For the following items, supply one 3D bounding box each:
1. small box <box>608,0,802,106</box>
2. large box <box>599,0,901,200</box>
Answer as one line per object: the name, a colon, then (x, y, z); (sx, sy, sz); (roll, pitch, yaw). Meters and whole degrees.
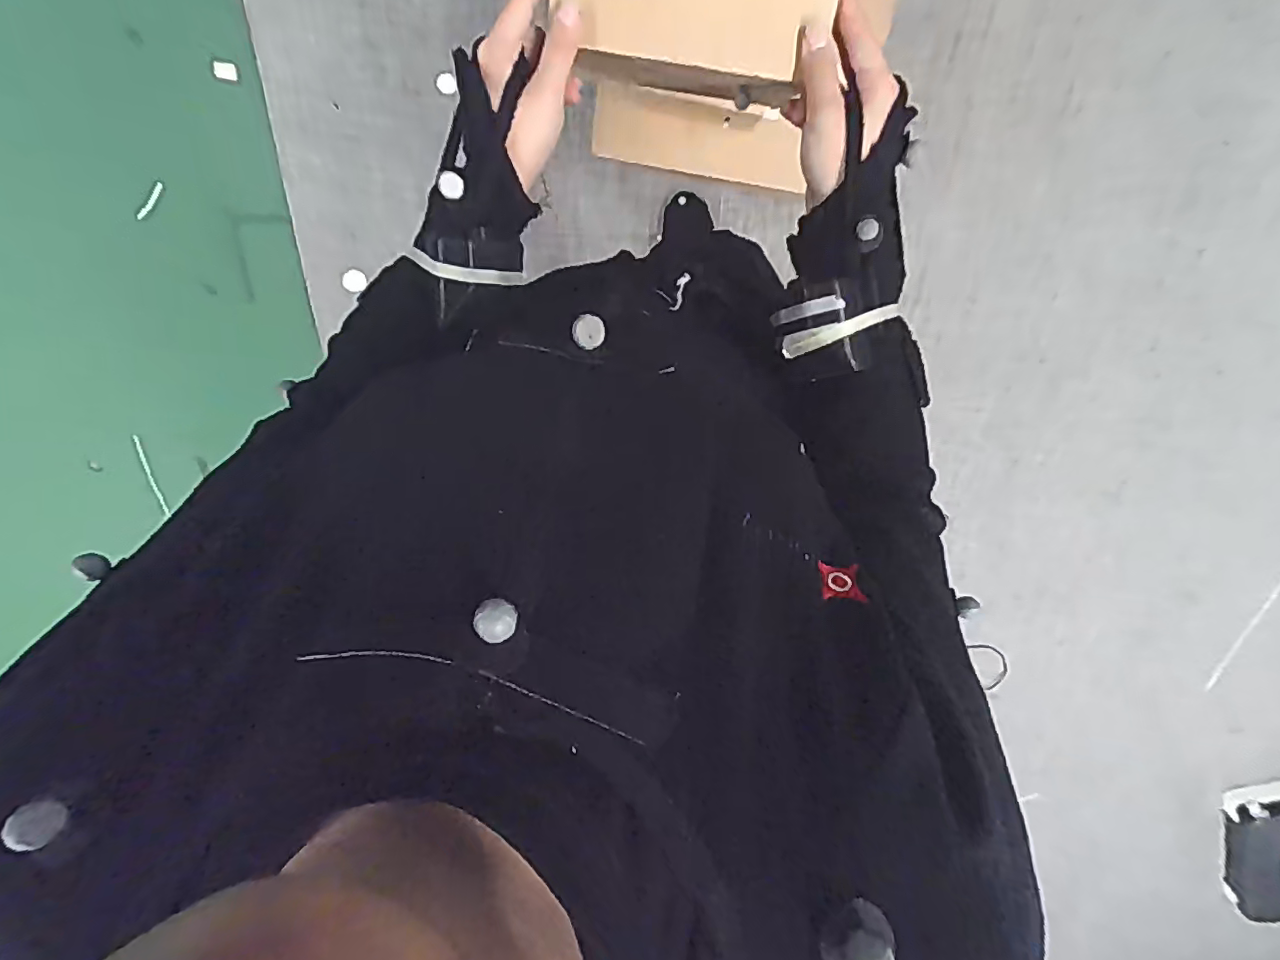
small box: (0.074, -0.506, 0.555); (0.179, 0.176, 0.168); (10, 117, 0)
large box: (0.160, -0.674, 0.916); (0.408, 0.320, 0.320); (10, 119, 0)
